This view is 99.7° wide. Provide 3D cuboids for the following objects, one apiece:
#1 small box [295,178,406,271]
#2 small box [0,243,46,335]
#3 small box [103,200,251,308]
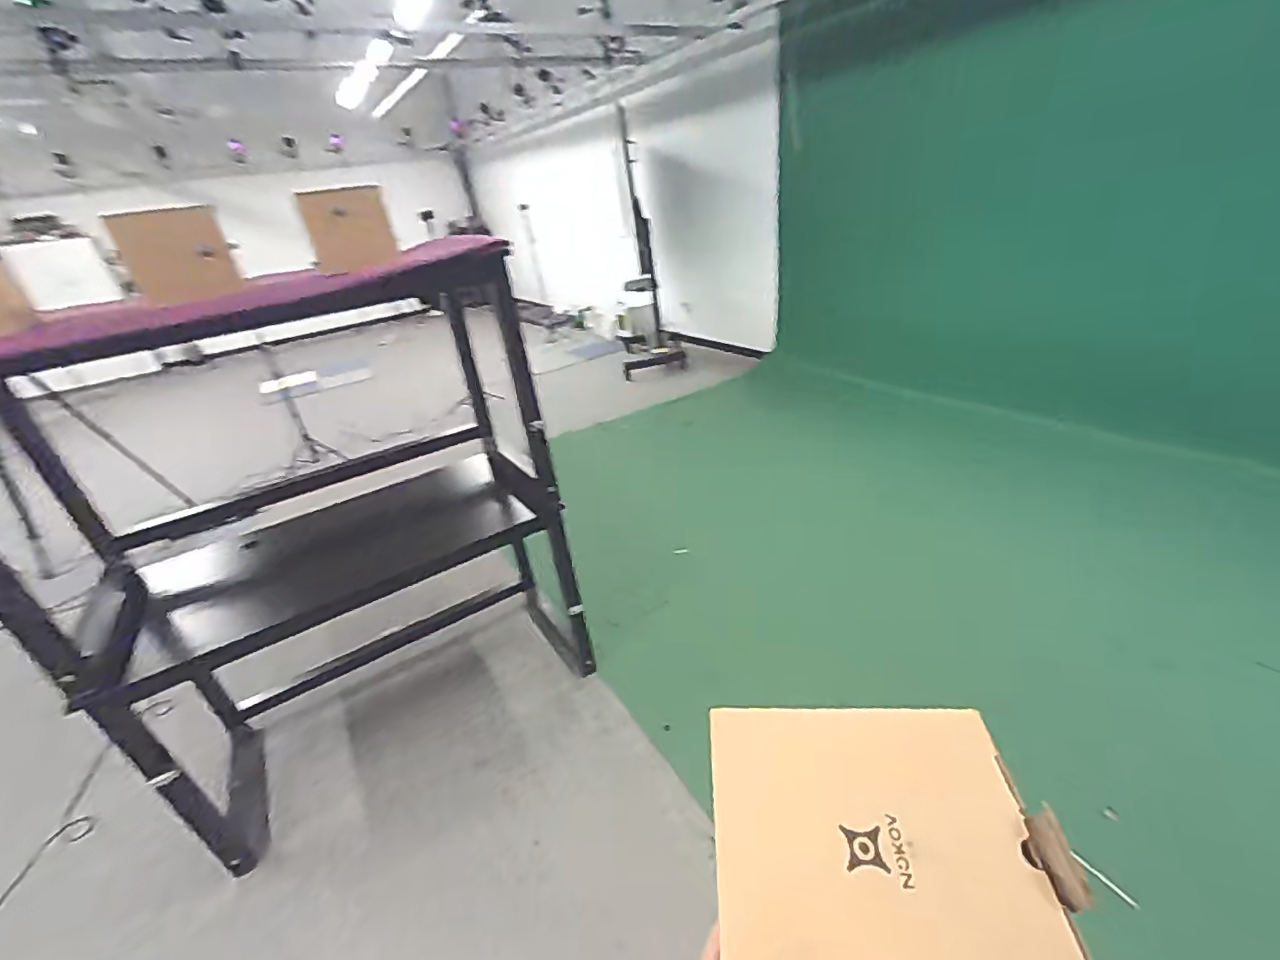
[{"bbox_3d":[-0.671,-0.588,1.258,0.179,0.176,0.168,-22,30,-24],"label":"small box"},{"bbox_3d":[-1.190,-0.333,0.928,0.168,0.176,0.179,-23,33,-28],"label":"small box"},{"bbox_3d":[-0.924,-0.462,1.101,0.179,0.176,0.168,-25,32,-26],"label":"small box"}]
